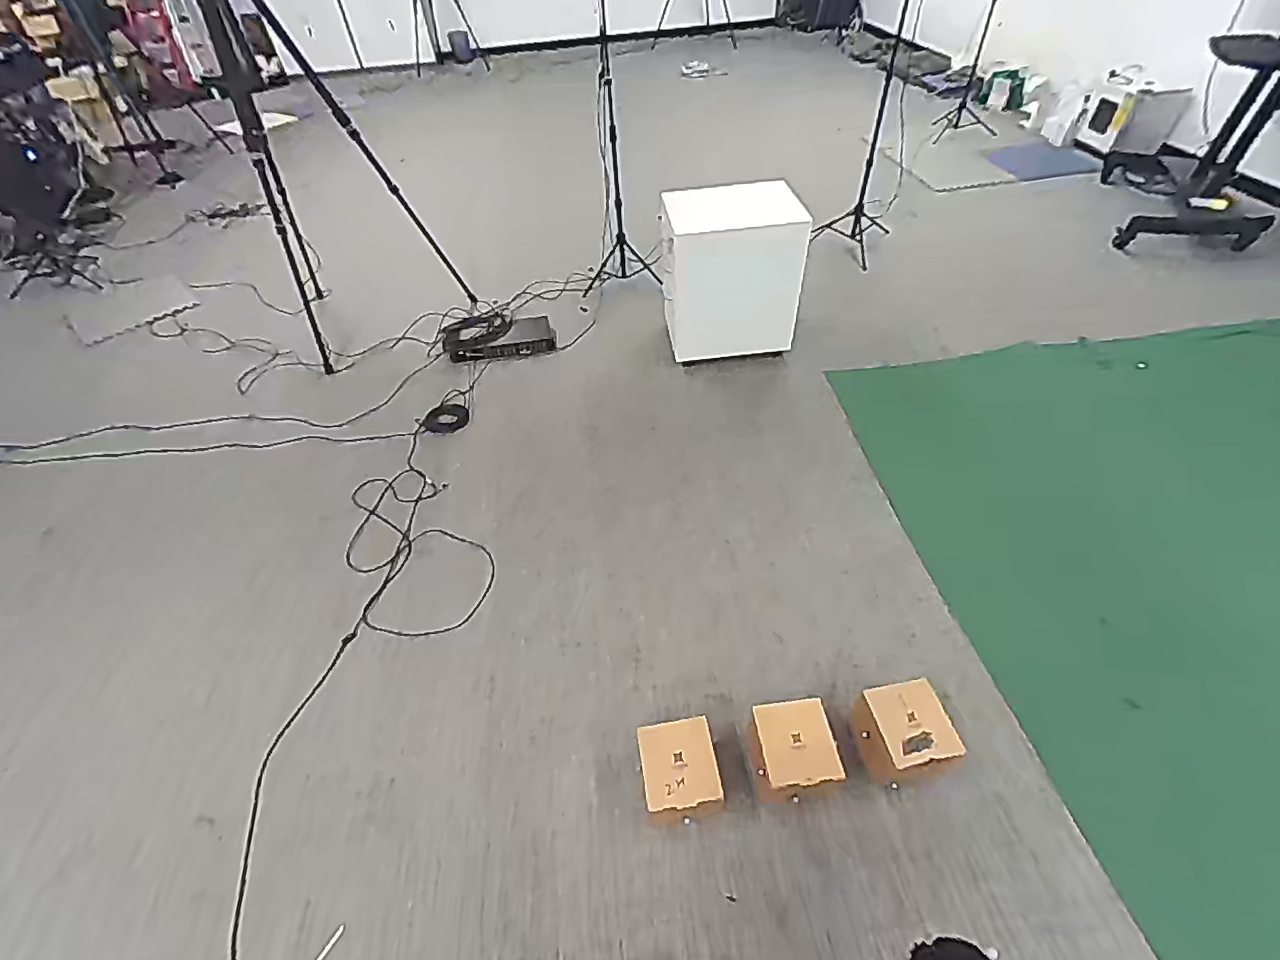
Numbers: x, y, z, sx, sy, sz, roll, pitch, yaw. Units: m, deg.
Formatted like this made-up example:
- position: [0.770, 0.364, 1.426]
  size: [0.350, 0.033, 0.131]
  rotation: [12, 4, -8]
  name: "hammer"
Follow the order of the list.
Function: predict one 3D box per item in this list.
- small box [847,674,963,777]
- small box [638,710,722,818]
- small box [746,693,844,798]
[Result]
- position: [0.620, 0.591, 1.289]
  size: [0.168, 0.176, 0.179]
  rotation: [-9, 48, -4]
  name: "small box"
- position: [0.089, 0.664, 1.263]
  size: [0.168, 0.176, 0.179]
  rotation: [-9, 49, -2]
  name: "small box"
- position: [0.355, 0.628, 1.278]
  size: [0.168, 0.176, 0.179]
  rotation: [-7, 49, -2]
  name: "small box"
